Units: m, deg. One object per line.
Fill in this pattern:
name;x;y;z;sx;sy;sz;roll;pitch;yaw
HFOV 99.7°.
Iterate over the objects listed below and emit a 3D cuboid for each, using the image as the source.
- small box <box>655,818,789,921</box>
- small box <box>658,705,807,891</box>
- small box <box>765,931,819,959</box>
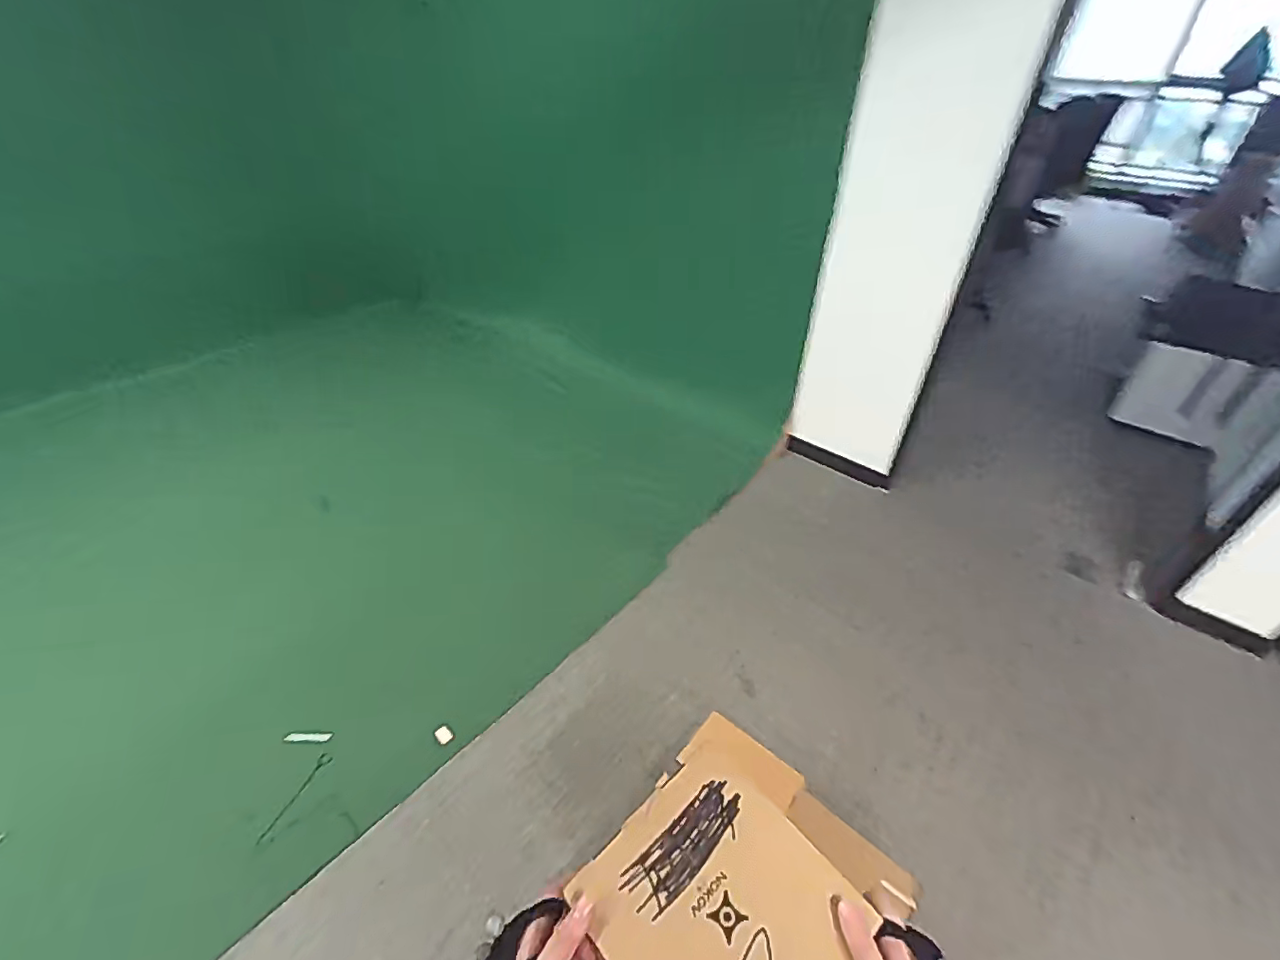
small box;0.144;0.654;0.985;0.179;0.176;0.168;28;45;30
small box;0.143;0.522;0.889;0.179;0.176;0.168;29;46;30
small box;0.219;0.818;0.780;0.179;0.176;0.168;-31;49;-33
